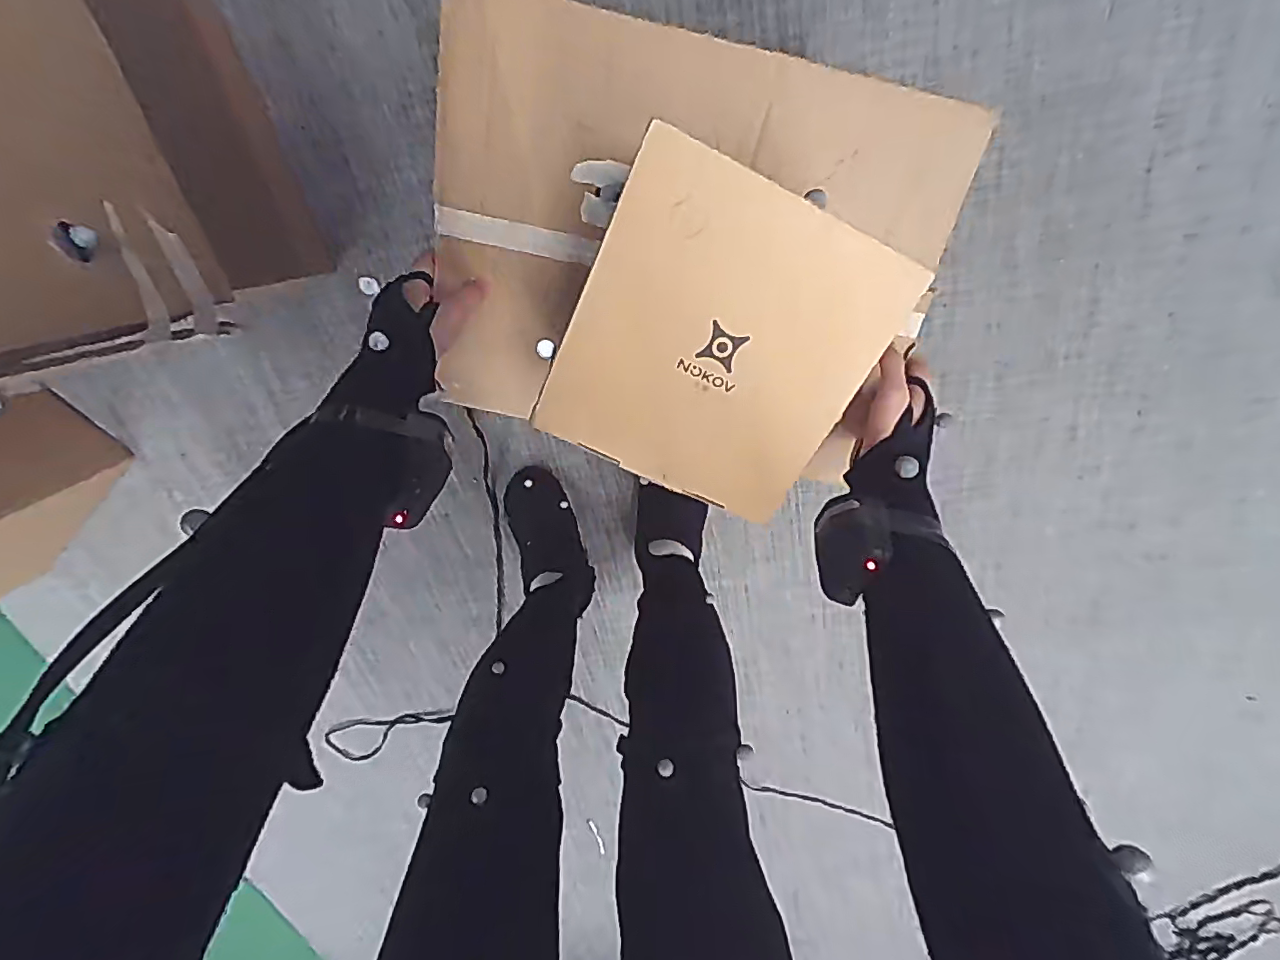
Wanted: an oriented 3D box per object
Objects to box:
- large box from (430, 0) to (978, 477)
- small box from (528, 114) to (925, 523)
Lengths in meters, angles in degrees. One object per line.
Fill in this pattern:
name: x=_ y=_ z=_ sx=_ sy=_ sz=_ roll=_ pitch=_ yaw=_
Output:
large box: x=0.035 y=-0.237 z=0.582 sx=0.408 sy=0.320 sz=0.320 roll=12 pitch=115 yaw=-1
small box: x=0.043 y=-0.108 z=0.372 sx=0.168 sy=0.176 sz=0.179 roll=23 pitch=116 yaw=-9
